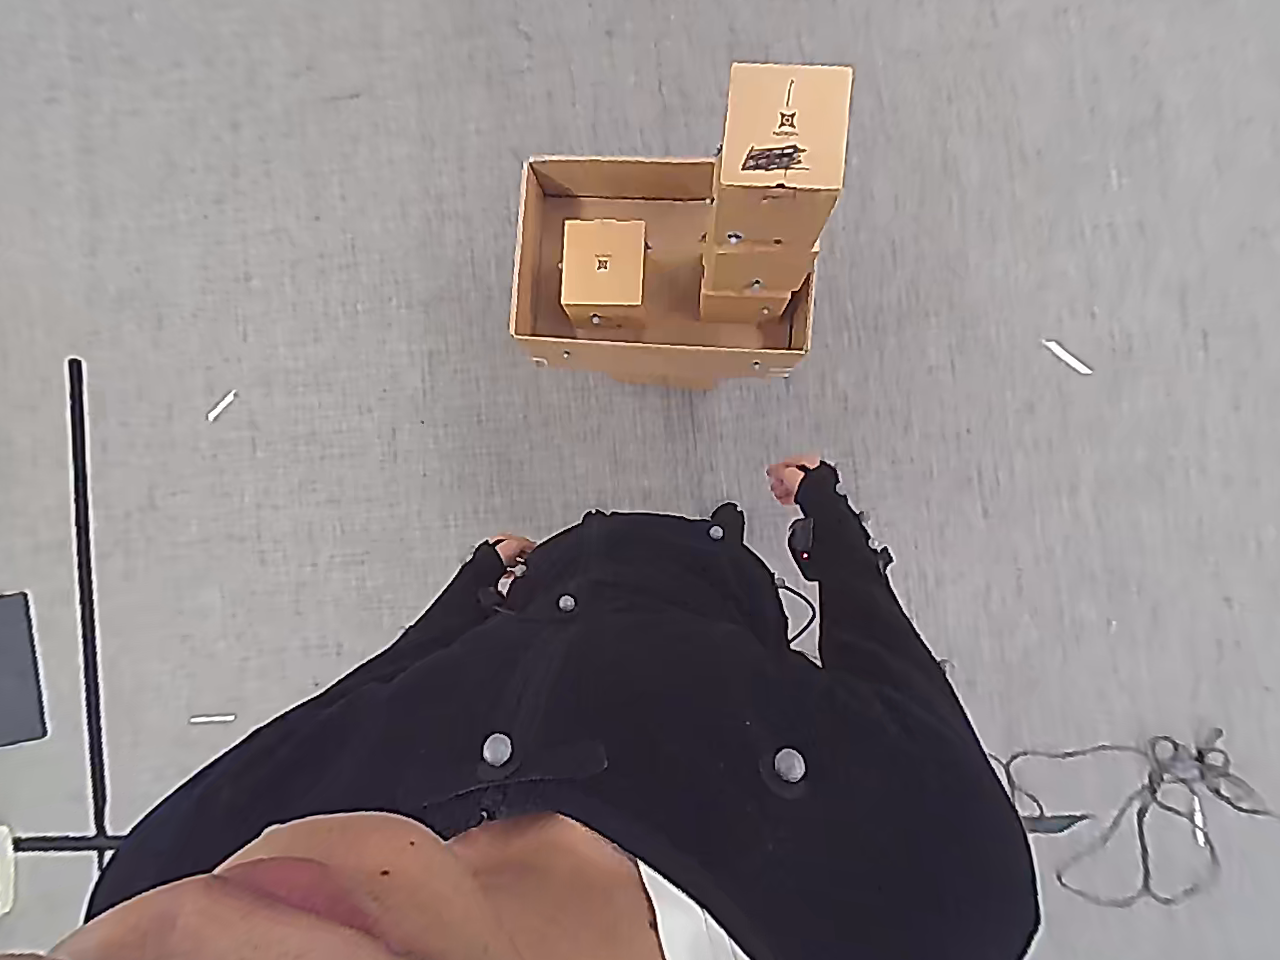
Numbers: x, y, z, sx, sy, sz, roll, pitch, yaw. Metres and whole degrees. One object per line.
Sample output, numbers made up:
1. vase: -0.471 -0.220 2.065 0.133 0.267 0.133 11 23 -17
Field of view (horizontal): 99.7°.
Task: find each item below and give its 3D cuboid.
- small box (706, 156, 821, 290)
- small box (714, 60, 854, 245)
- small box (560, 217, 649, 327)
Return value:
1. small box: 0.214 -0.452 0.966 0.179 0.176 0.168 2 88 4
2. small box: 0.202 -0.472 0.802 0.168 0.176 0.179 6 88 4
3. small box: -0.069 -0.435 1.155 0.168 0.176 0.179 2 88 4
